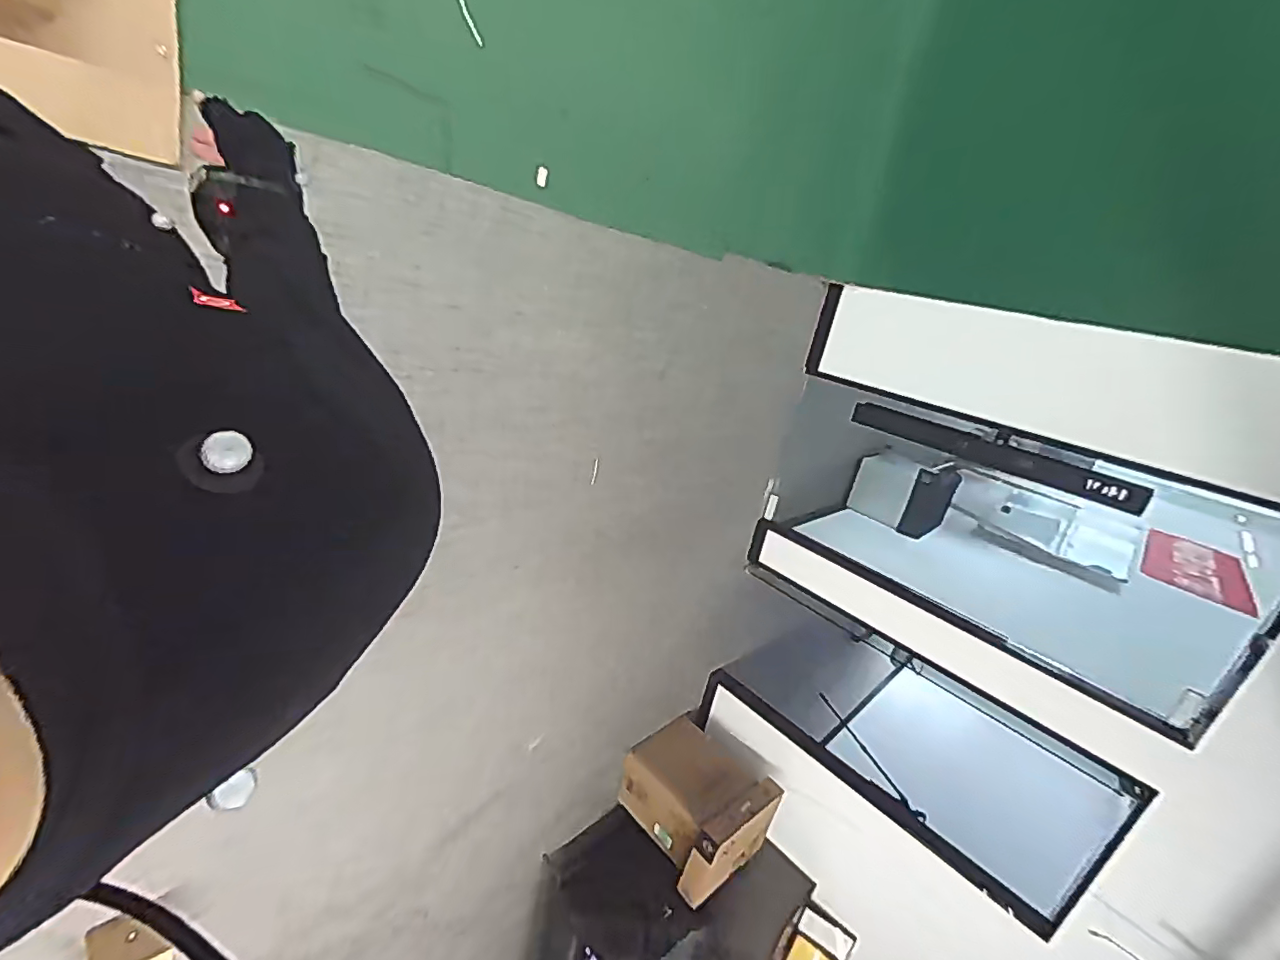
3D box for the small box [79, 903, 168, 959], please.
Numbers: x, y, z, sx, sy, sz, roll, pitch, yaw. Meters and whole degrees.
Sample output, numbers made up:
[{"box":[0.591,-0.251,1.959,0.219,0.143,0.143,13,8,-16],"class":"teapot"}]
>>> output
[{"box":[-1.438,1.331,1.502,0.168,0.176,0.179,-1,113,-48],"class":"small box"}]
